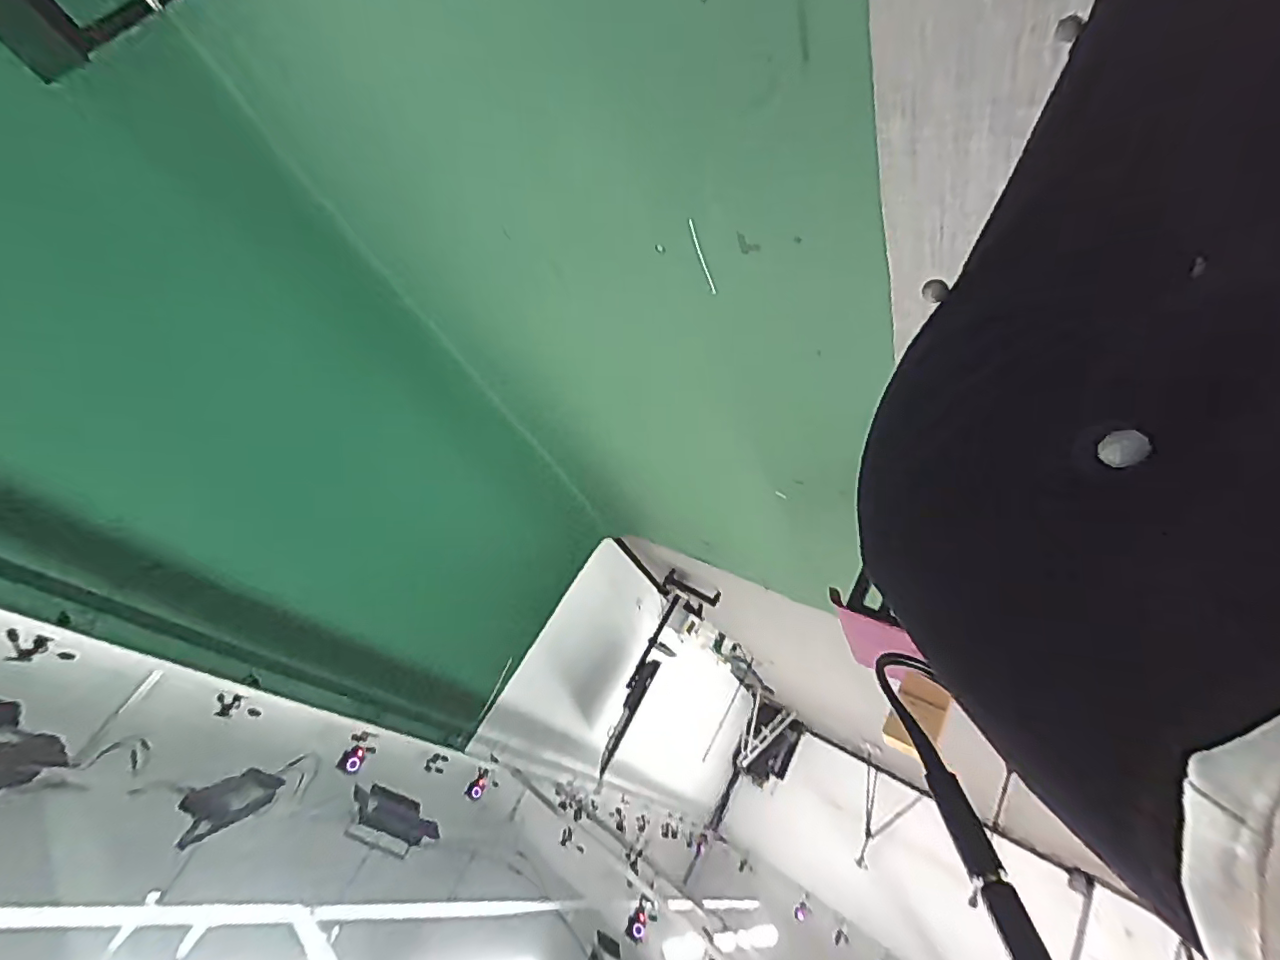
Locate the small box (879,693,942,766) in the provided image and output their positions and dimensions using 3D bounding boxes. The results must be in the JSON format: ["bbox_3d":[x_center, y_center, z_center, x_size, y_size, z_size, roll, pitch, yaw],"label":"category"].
[{"bbox_3d":[0.983,0.901,1.963,0.168,0.176,0.179,17,155,37],"label":"small box"}]
